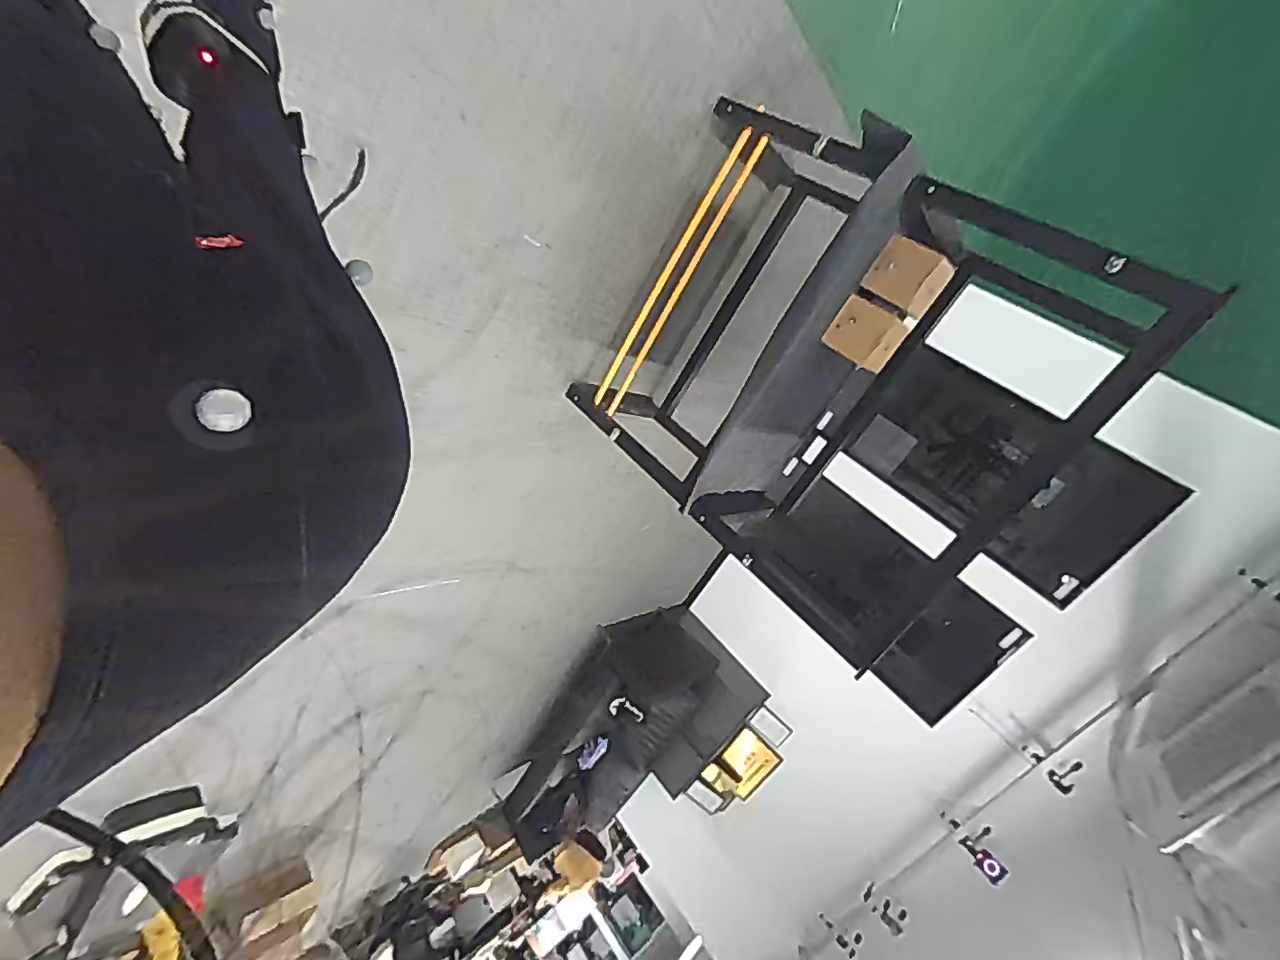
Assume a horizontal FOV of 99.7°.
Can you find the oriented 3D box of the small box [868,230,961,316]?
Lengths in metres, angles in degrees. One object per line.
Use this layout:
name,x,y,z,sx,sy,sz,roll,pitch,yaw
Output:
small box,0.819,-0.619,1.619,0.179,0.176,0.168,-3,131,-52
